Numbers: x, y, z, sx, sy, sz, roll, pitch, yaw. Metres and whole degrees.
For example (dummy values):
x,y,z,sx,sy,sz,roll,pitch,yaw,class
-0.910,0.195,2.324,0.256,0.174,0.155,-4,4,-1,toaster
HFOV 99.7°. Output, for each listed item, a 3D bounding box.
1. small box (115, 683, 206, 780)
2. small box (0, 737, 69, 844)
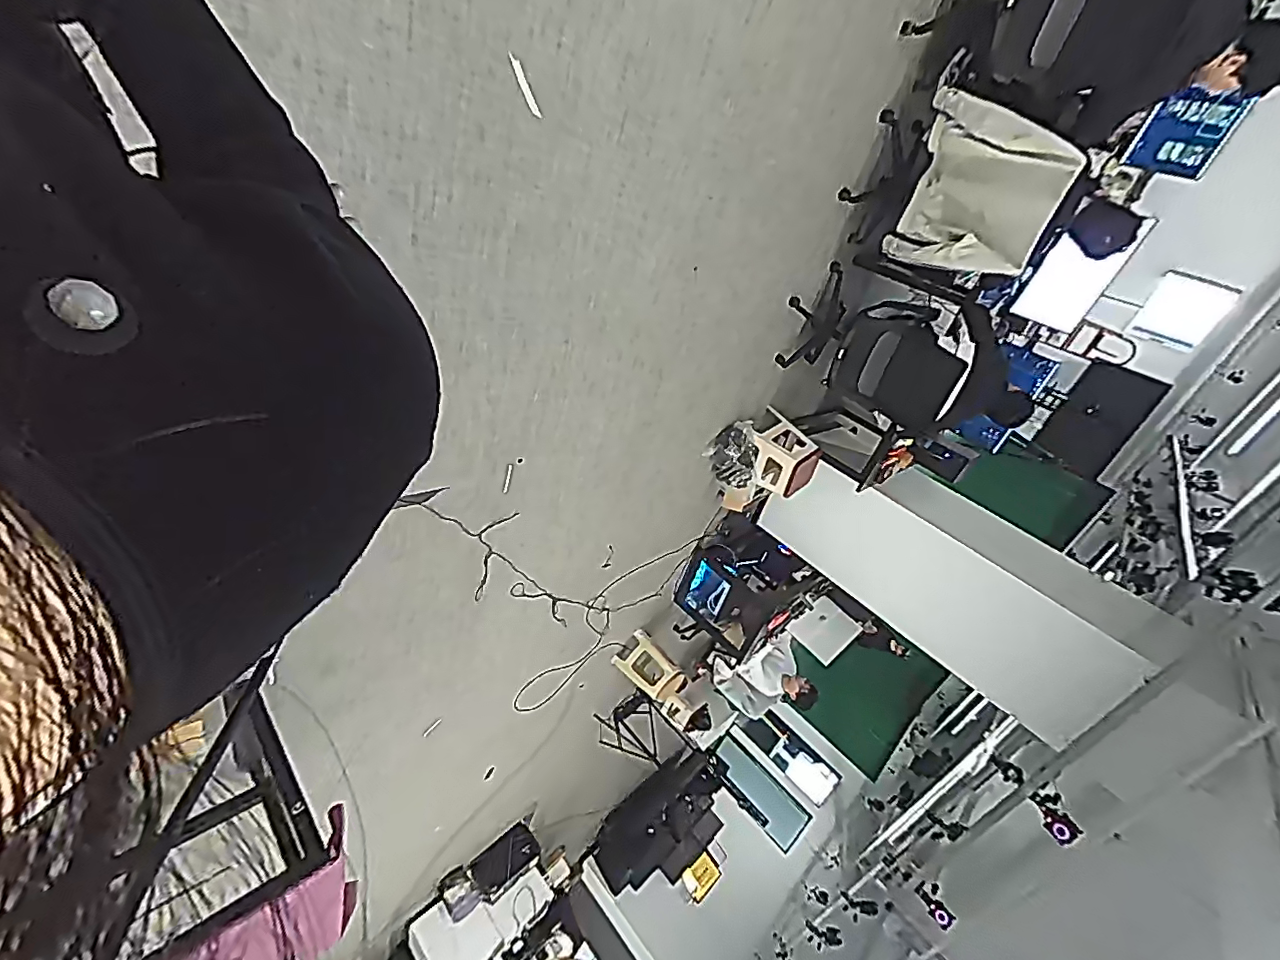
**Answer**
x,y,z,sx,sy,sz,roll,pitch,yaw,class
-1.466,0.760,1.657,0.179,0.176,0.168,-14,132,-45,small box
-1.676,0.834,1.448,0.168,0.176,0.179,-17,135,-45,small box
